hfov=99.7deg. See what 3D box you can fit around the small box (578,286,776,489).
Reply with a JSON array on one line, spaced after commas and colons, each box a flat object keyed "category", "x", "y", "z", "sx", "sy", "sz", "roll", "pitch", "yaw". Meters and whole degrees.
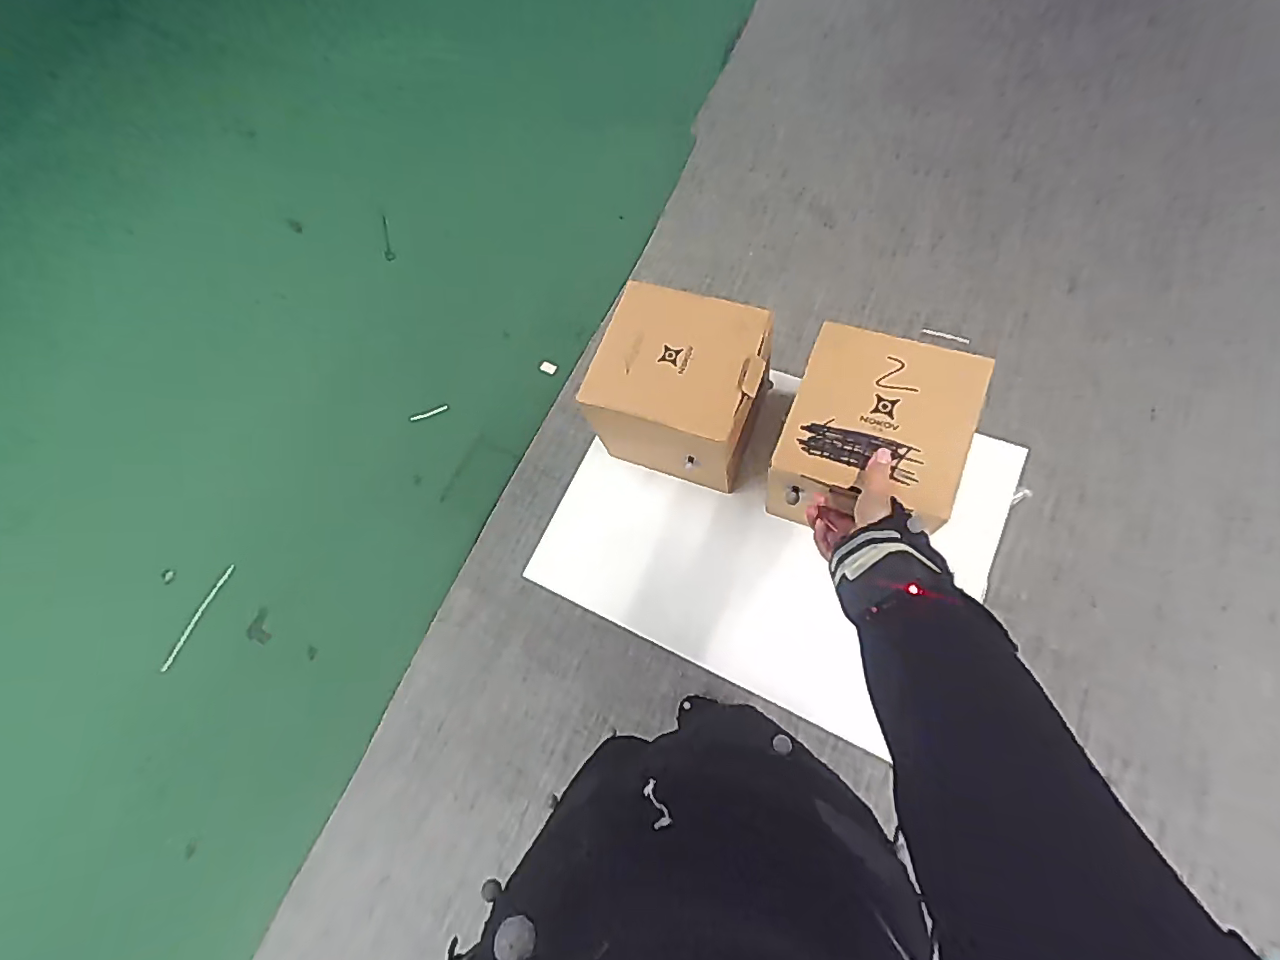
[{"category": "small box", "x": 0.053, "y": -0.102, "z": 0.662, "sx": 0.179, "sy": 0.176, "sz": 0.168, "roll": 17, "pitch": 73, "yaw": 17}]
